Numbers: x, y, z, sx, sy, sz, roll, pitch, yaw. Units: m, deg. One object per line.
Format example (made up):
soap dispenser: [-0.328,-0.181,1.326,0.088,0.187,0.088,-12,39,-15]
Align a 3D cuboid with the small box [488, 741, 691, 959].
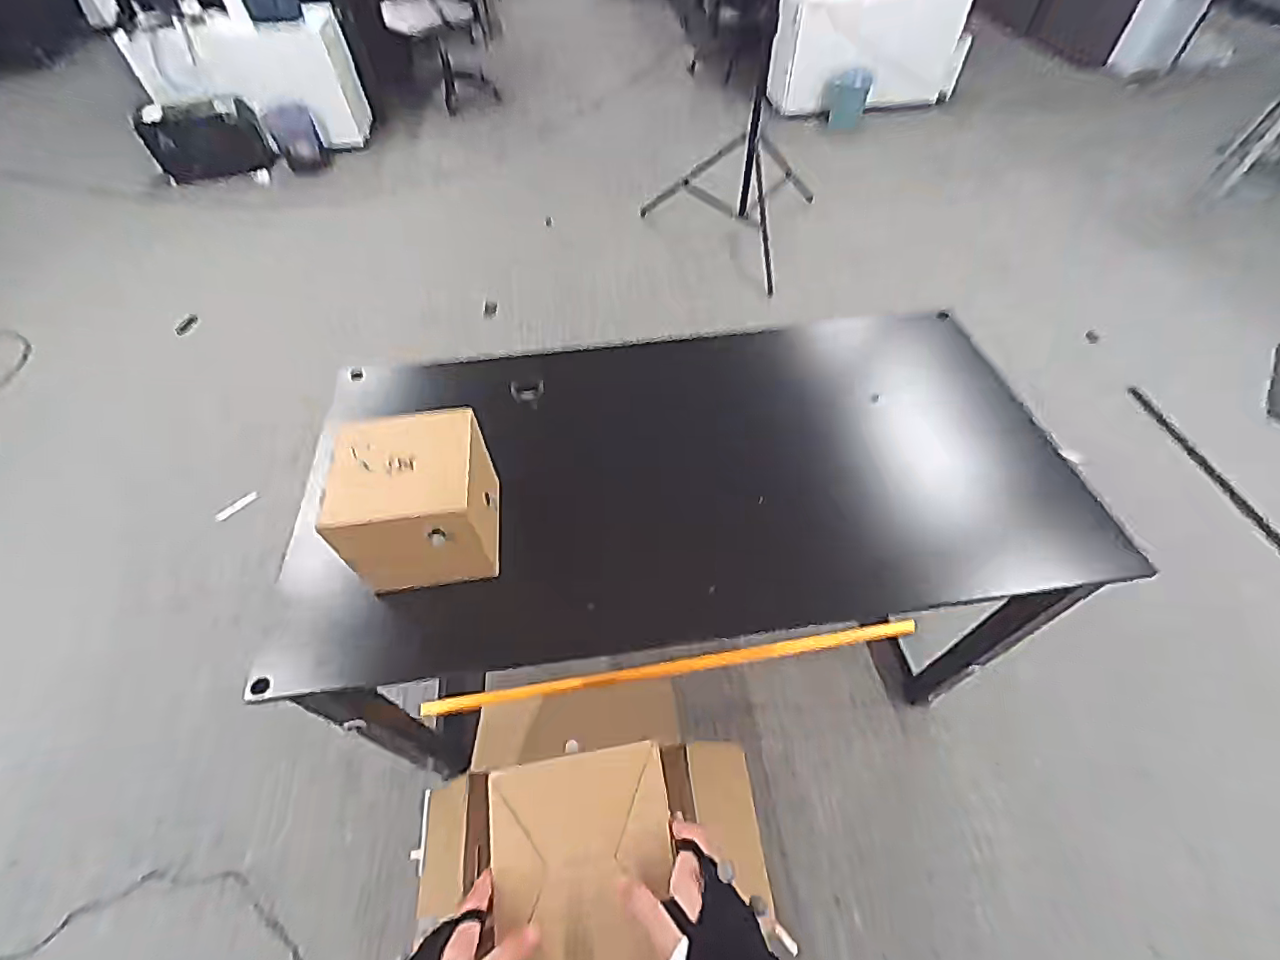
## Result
small box: [-0.047,0.378,0.550,0.168,0.176,0.179,-11,62,-2]

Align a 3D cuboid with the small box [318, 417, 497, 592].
small box: [-0.298,0.037,0.741,0.179,0.176,0.168,-7,52,-5]
